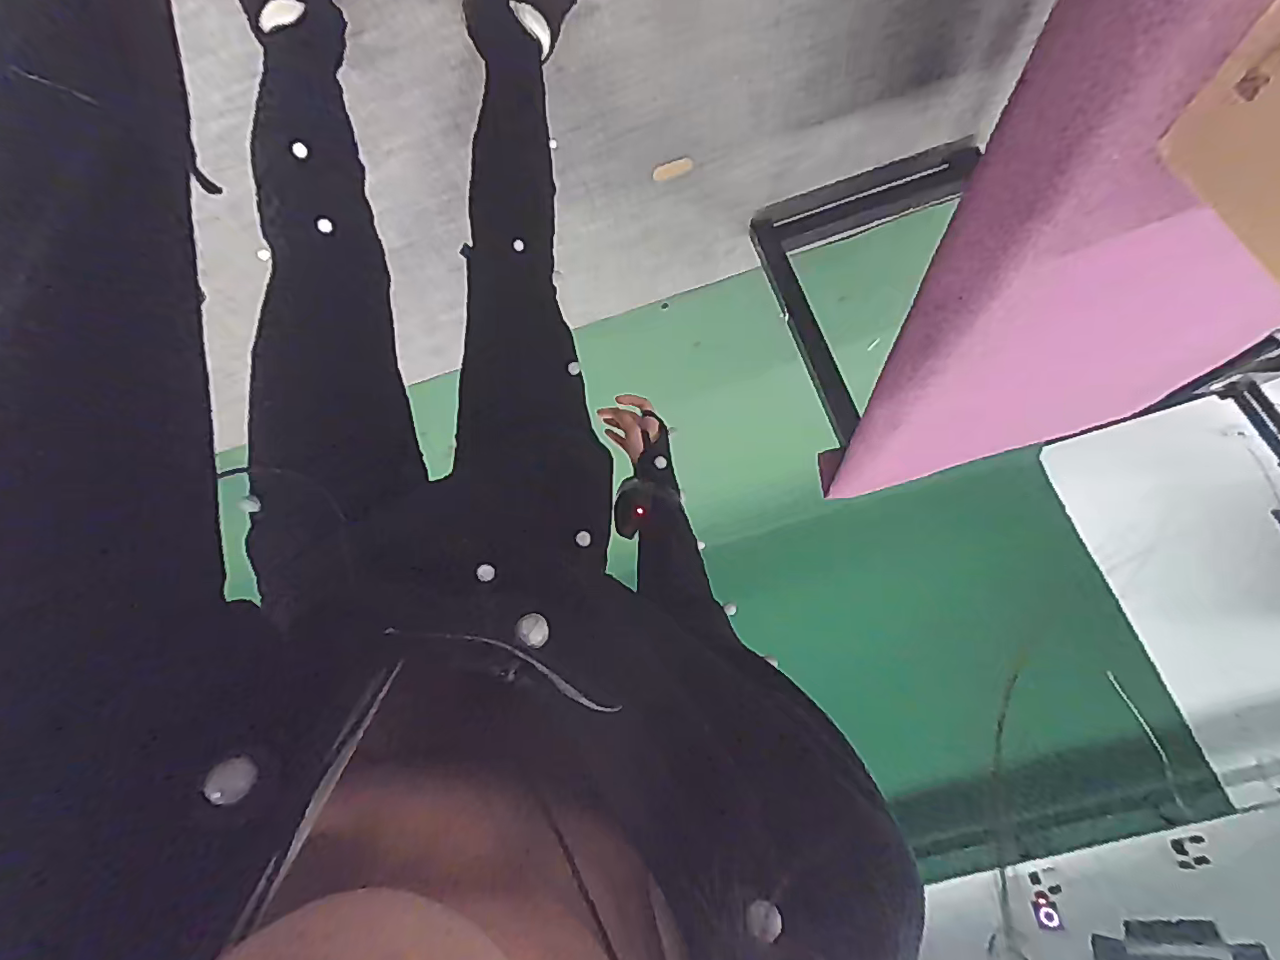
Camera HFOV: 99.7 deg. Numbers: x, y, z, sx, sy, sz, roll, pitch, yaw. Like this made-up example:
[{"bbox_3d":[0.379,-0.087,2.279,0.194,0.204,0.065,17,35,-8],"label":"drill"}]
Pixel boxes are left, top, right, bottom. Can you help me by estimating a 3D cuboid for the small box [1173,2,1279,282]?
[{"bbox_3d":[0.458,-0.217,0.274,0.179,0.176,0.168,-18,160,4],"label":"small box"}]
